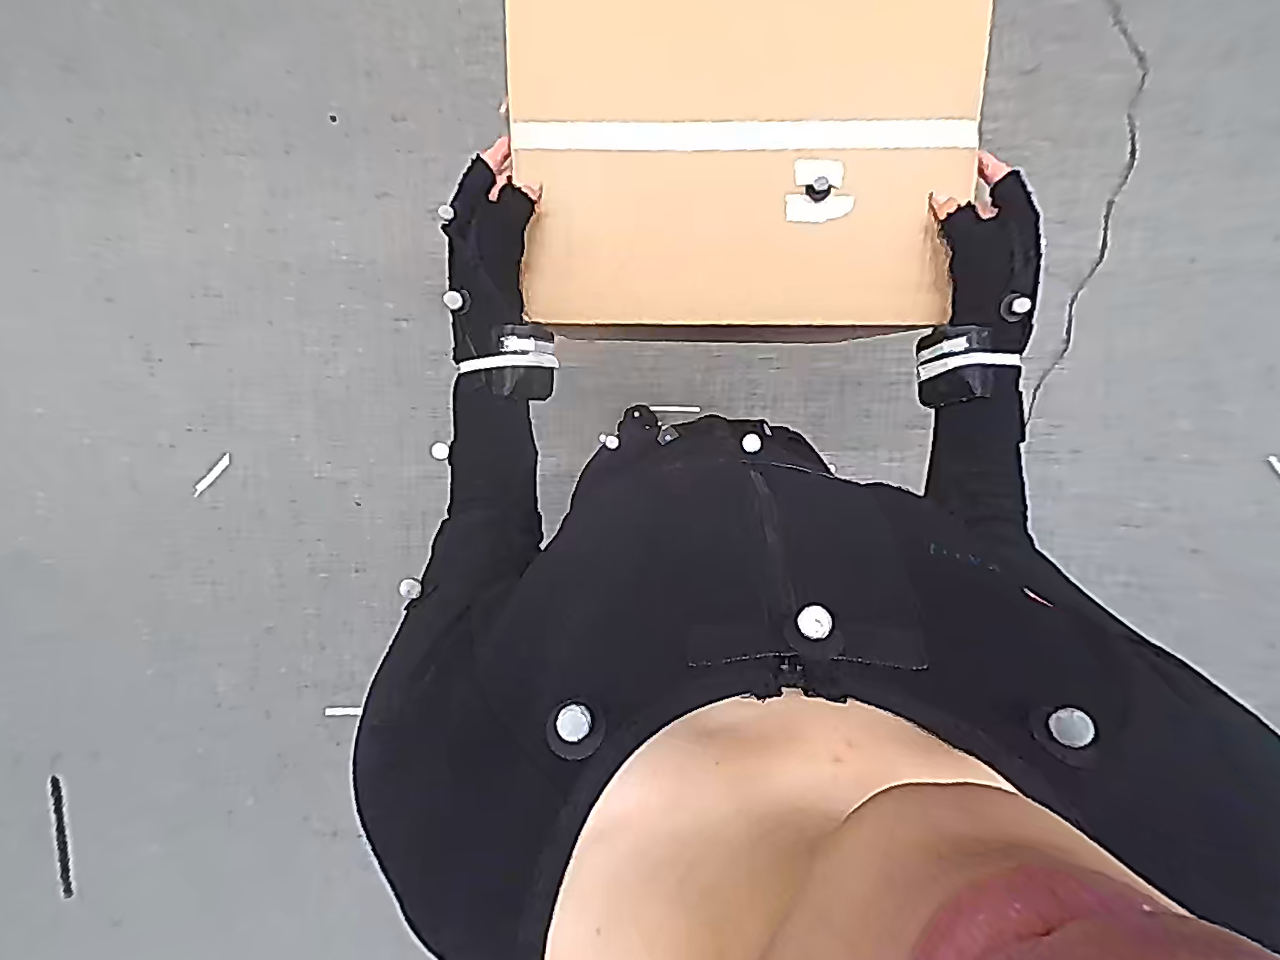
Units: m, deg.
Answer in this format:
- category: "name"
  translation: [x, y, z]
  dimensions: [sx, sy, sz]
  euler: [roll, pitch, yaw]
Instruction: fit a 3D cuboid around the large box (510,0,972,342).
- category: "large box"
  translation: [0.086, -0.333, 0.630]
  dimensions: [0.408, 0.320, 0.320]
  euler: [1, 101, 0]
